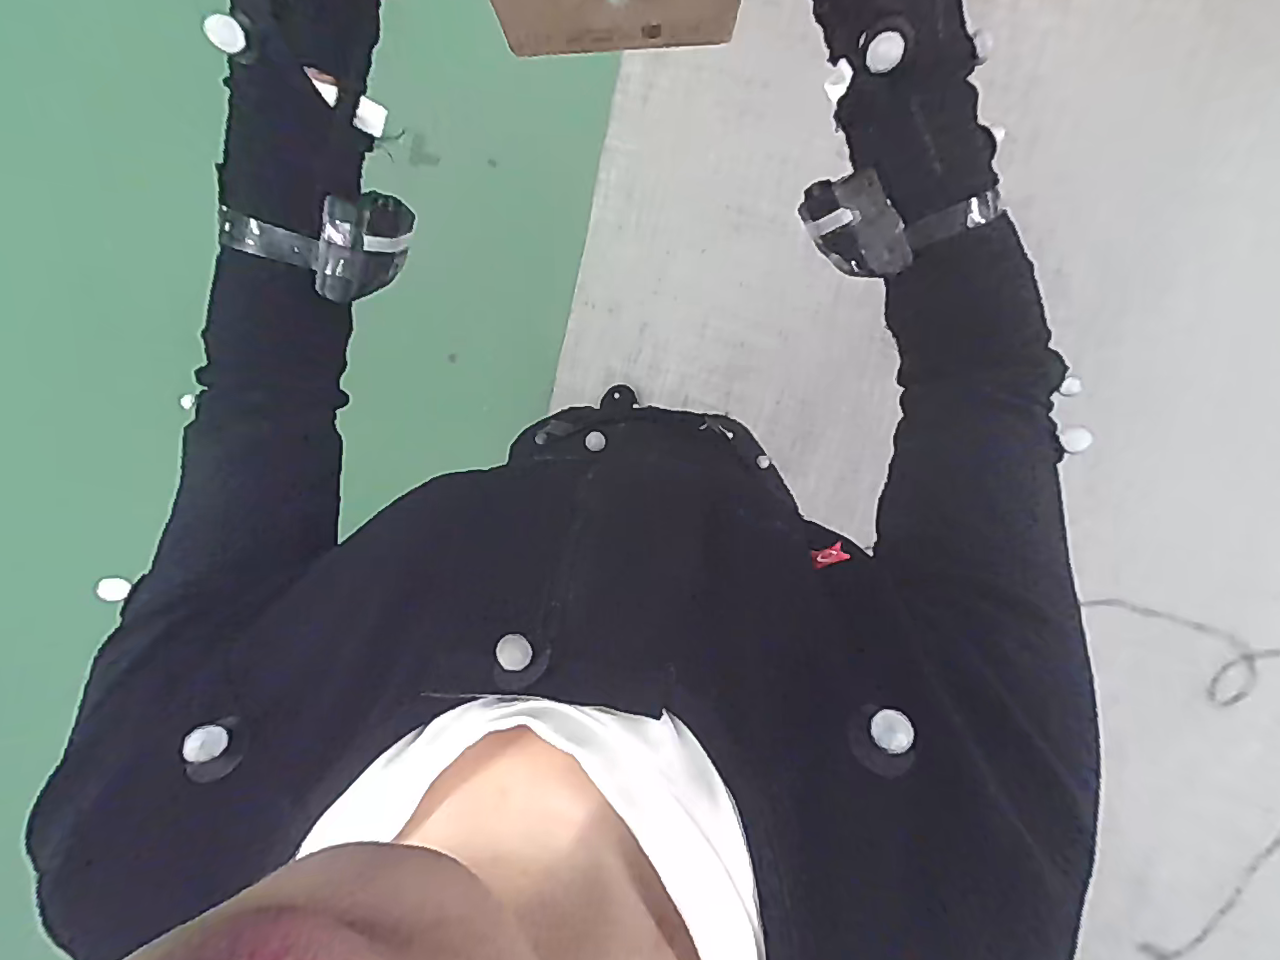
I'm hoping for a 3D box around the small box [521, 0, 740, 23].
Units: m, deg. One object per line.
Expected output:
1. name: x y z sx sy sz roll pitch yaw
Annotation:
1. small box: -0.012 -0.400 0.305 0.168 0.176 0.179 -1 101 2
